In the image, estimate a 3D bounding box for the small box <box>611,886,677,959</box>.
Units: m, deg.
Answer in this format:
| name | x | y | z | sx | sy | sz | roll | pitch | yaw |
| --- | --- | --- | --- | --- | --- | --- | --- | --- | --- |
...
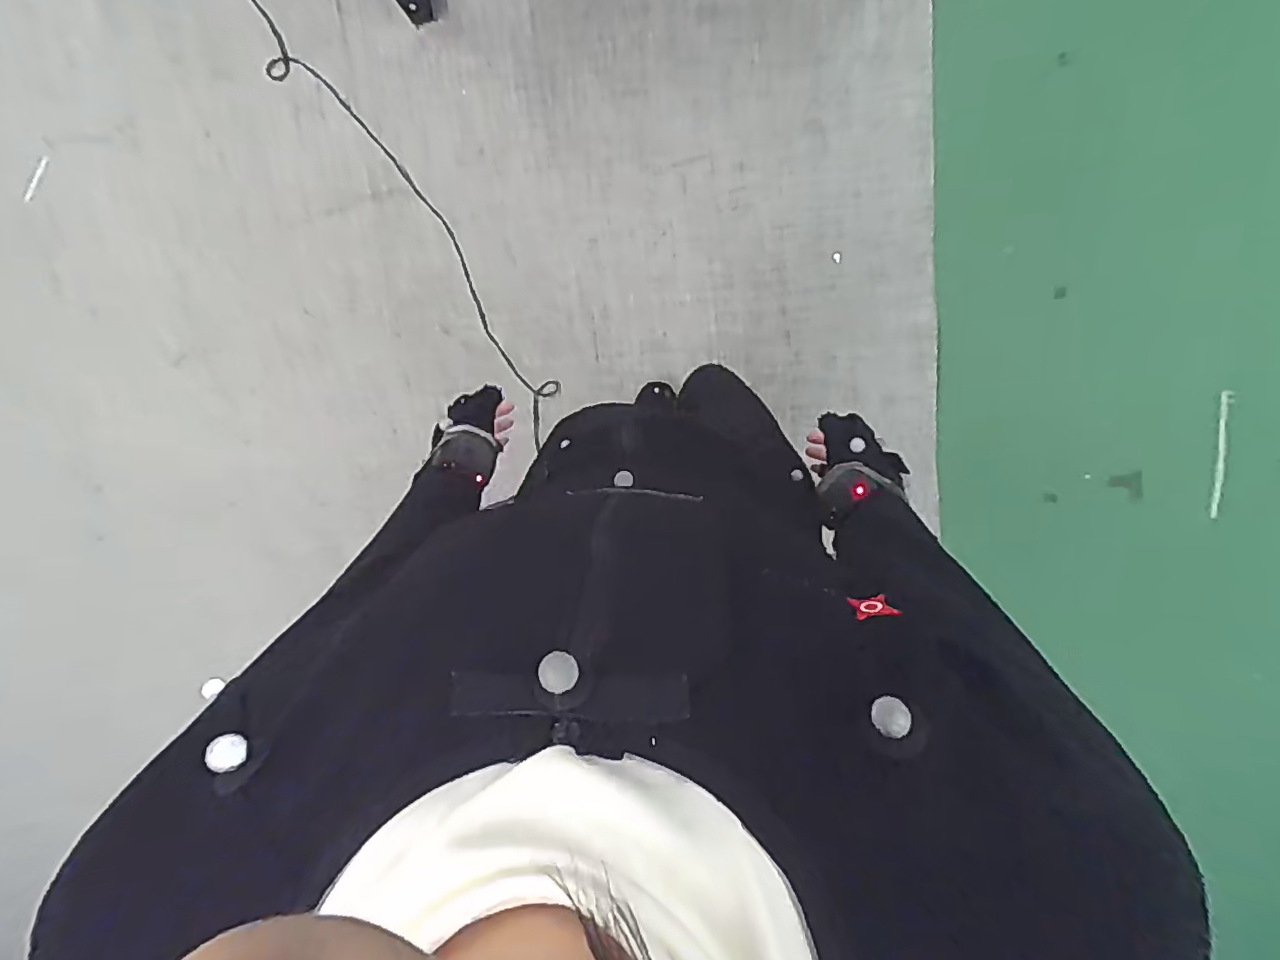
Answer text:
| name | x | y | z | sx | sy | sz | roll | pitch | yaw |
| --- | --- | --- | --- | --- | --- | --- | --- | --- | --- |
| small box | 0.017 | 1.370 | 1.630 | 0.179 | 0.176 | 0.168 | -7 | 102 | 4 |
